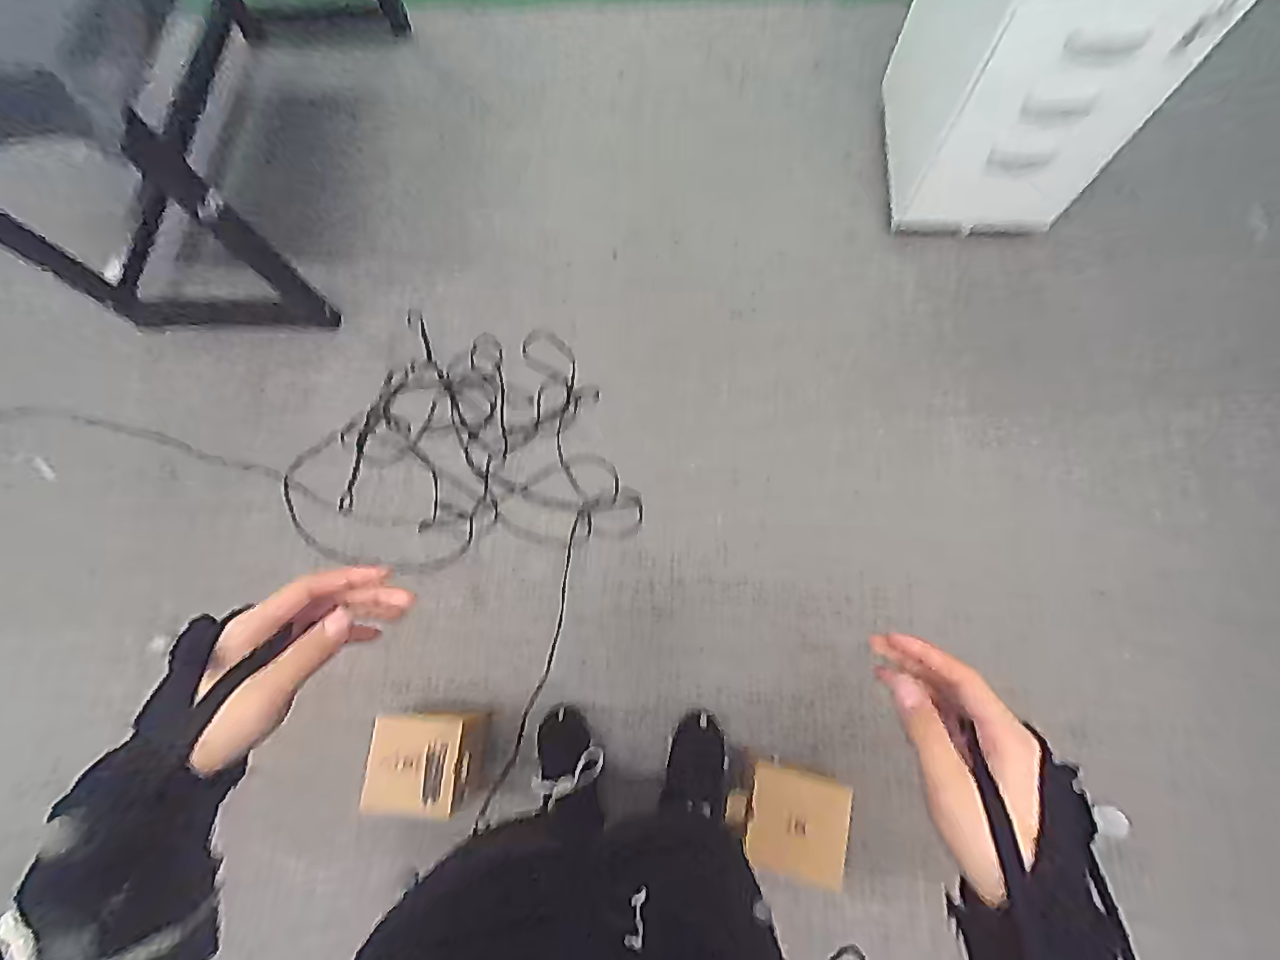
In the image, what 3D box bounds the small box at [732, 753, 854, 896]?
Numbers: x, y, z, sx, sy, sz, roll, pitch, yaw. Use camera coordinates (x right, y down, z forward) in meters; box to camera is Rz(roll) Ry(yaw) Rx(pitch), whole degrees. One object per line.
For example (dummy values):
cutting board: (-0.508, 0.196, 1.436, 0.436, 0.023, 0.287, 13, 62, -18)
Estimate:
small box: (0.283, 0.639, 1.028, 0.179, 0.176, 0.168, 12, 74, 7)
